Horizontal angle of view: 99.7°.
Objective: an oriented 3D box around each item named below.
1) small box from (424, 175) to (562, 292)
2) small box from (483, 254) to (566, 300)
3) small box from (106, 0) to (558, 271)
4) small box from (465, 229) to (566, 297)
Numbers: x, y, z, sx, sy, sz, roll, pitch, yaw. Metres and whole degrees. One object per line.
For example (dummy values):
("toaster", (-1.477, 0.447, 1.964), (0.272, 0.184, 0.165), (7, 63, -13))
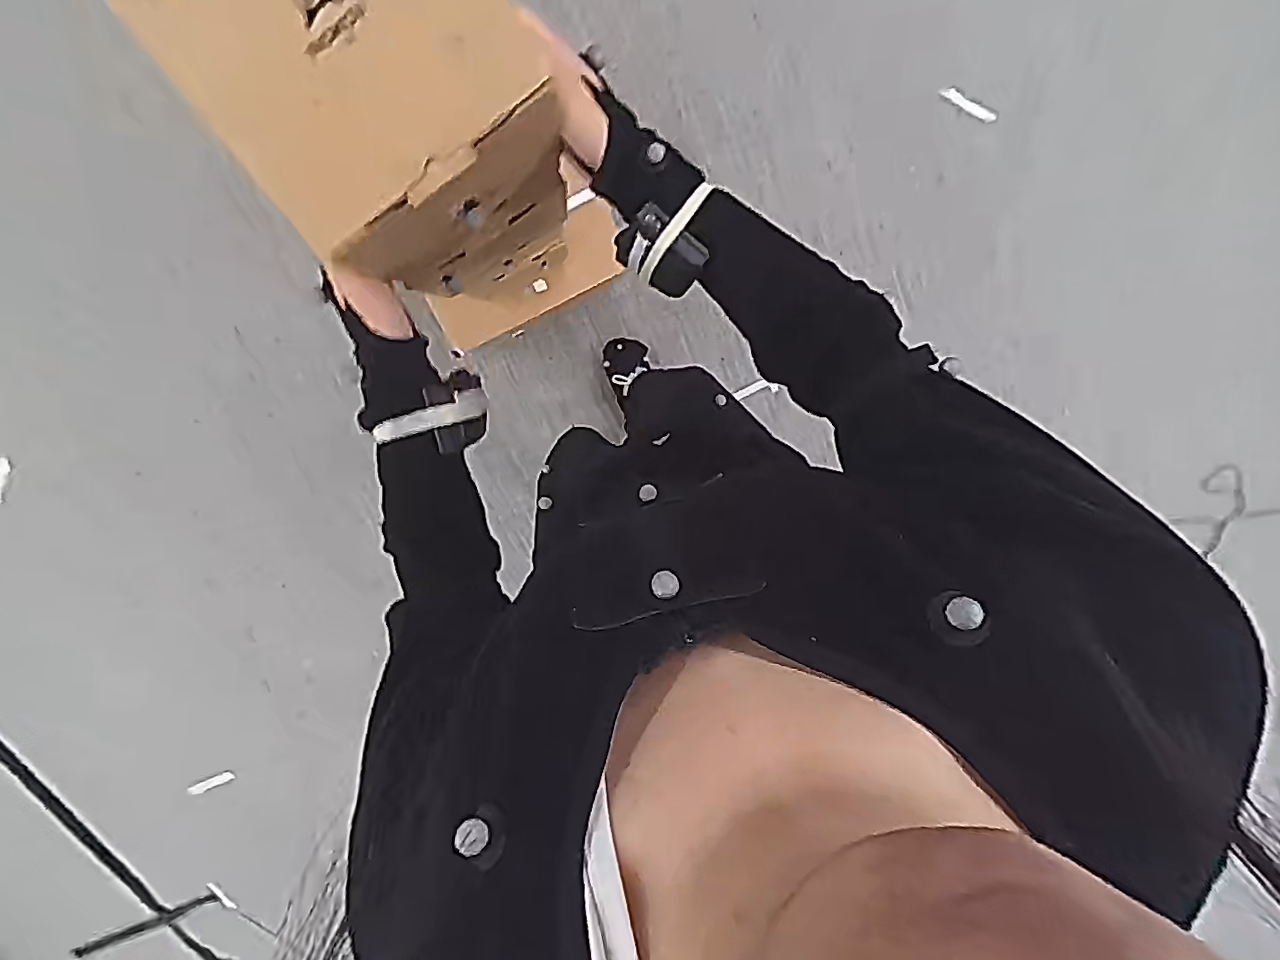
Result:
("small box", (-0.207, -0.349, 0.659), (0.168, 0.176, 0.179), (-33, 107, 2))
("small box", (-0.244, -0.440, 0.971), (0.168, 0.176, 0.179), (-27, 108, 2))
("small box", (-0.167, -0.255, 0.347), (0.168, 0.176, 0.179), (-36, 108, 3))
("small box", (-0.220, -0.393, 0.817), (0.168, 0.176, 0.179), (-29, 106, 1))
